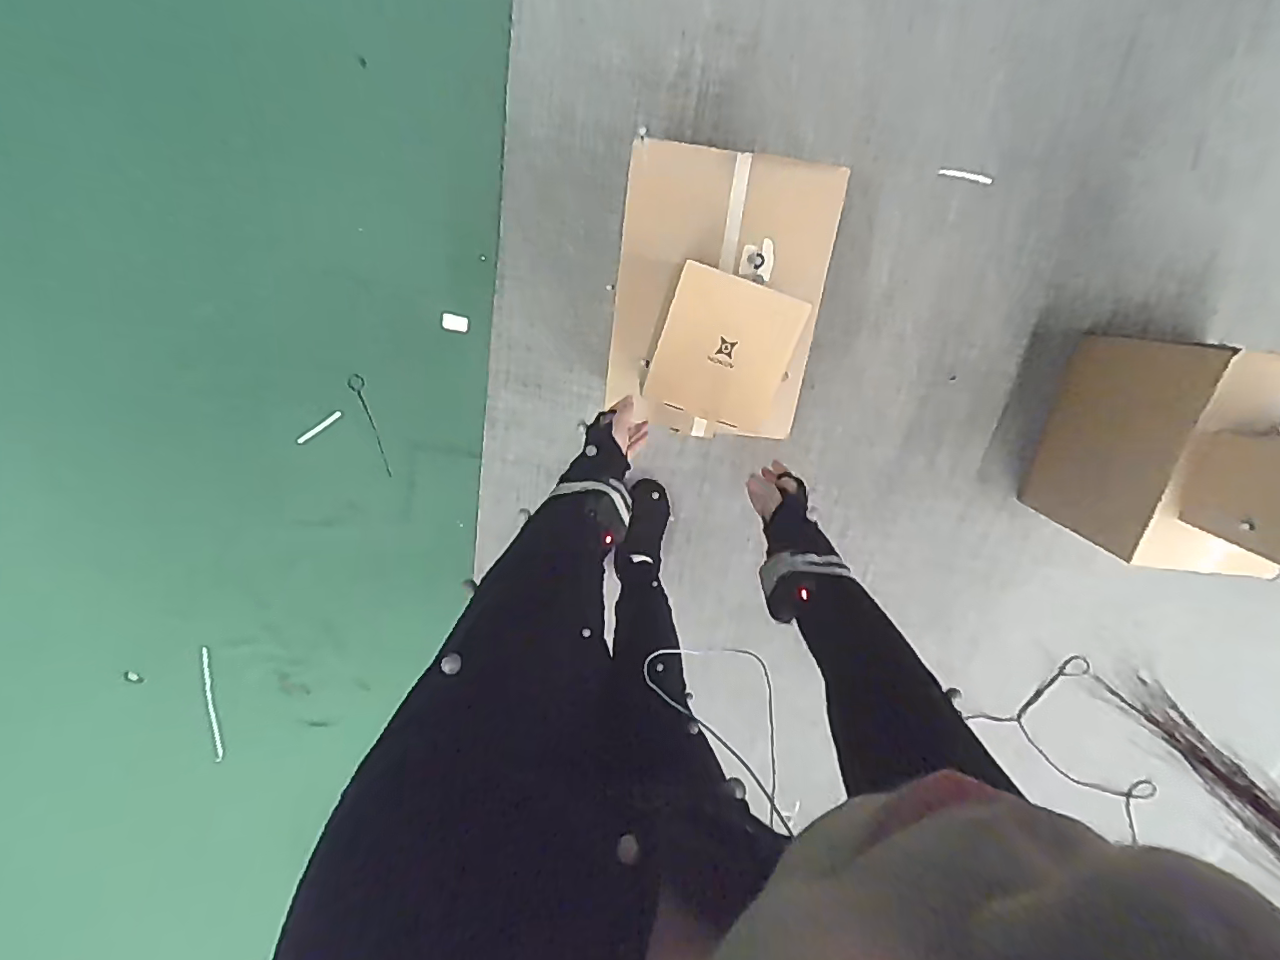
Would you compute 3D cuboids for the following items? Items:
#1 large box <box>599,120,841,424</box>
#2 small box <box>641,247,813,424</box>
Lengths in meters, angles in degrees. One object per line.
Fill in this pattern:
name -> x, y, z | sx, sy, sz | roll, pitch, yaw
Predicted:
large box -> 0.103, -0.339, 0.944 | 0.320, 0.320, 0.408 | 6, 111, -5
small box -> 0.102, -0.200, 0.735 | 0.168, 0.176, 0.179 | 16, 111, -8
